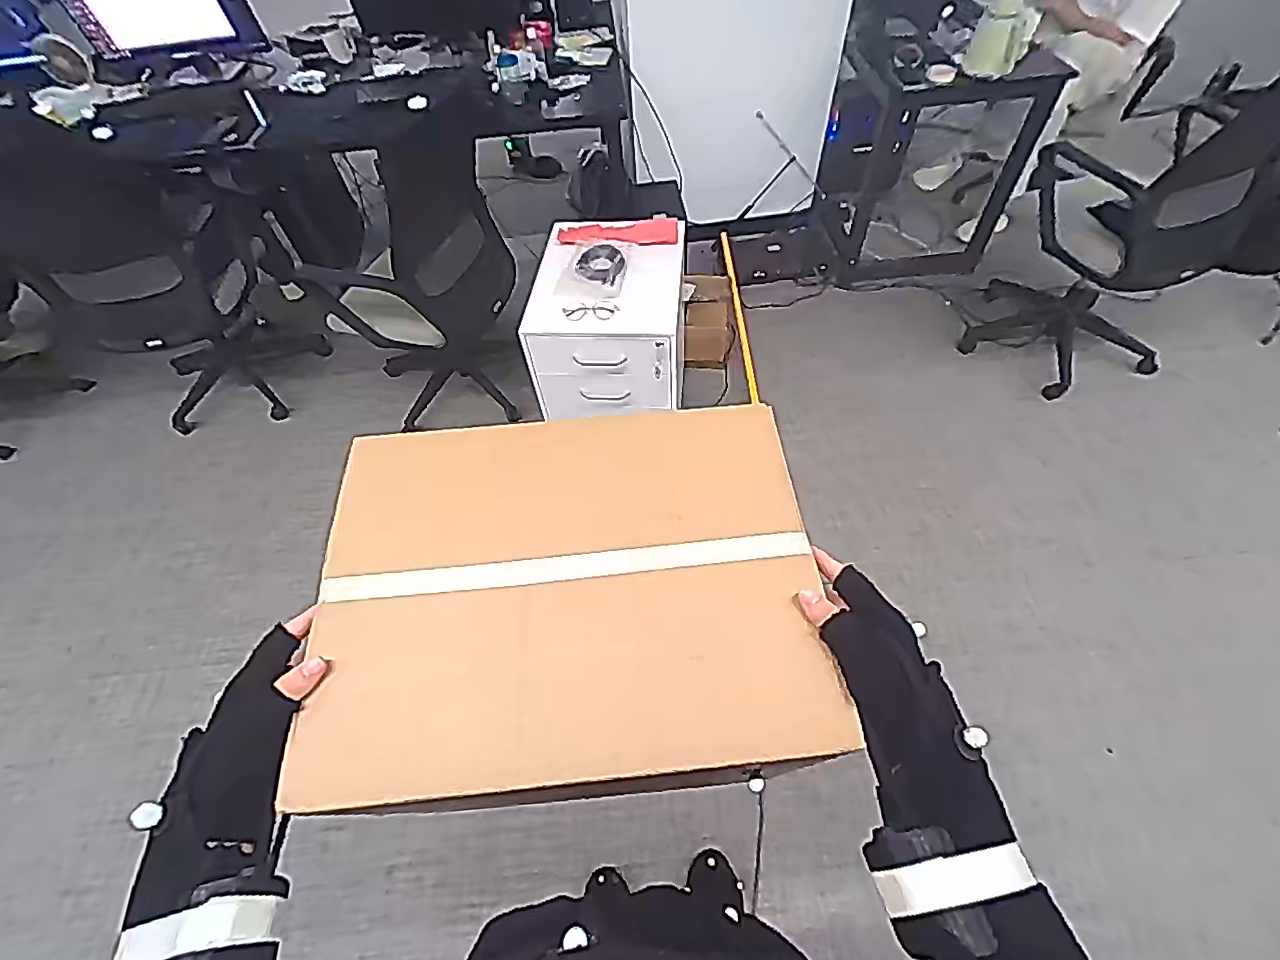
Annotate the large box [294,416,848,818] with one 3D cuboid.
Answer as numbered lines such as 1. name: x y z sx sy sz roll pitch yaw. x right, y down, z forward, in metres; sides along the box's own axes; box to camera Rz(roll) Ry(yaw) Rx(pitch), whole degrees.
1. large box: -0.057 0.159 0.586 0.408 0.320 0.320 -5 58 -3
